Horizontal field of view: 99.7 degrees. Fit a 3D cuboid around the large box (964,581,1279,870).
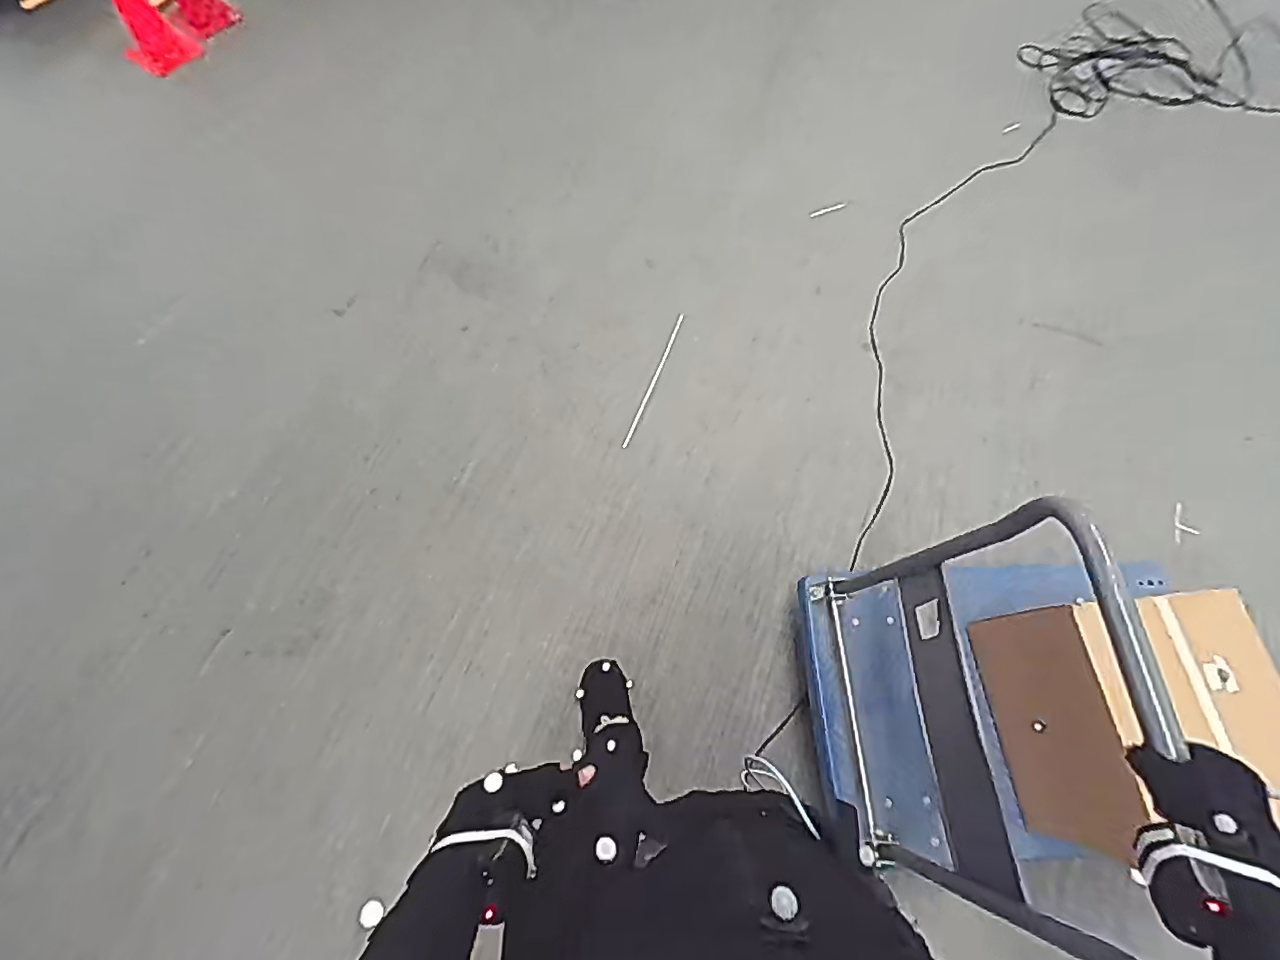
[{"bbox_3d":[0.898,0.433,1.014,0.320,0.320,0.408,-5,69,-5],"label":"large box"}]
